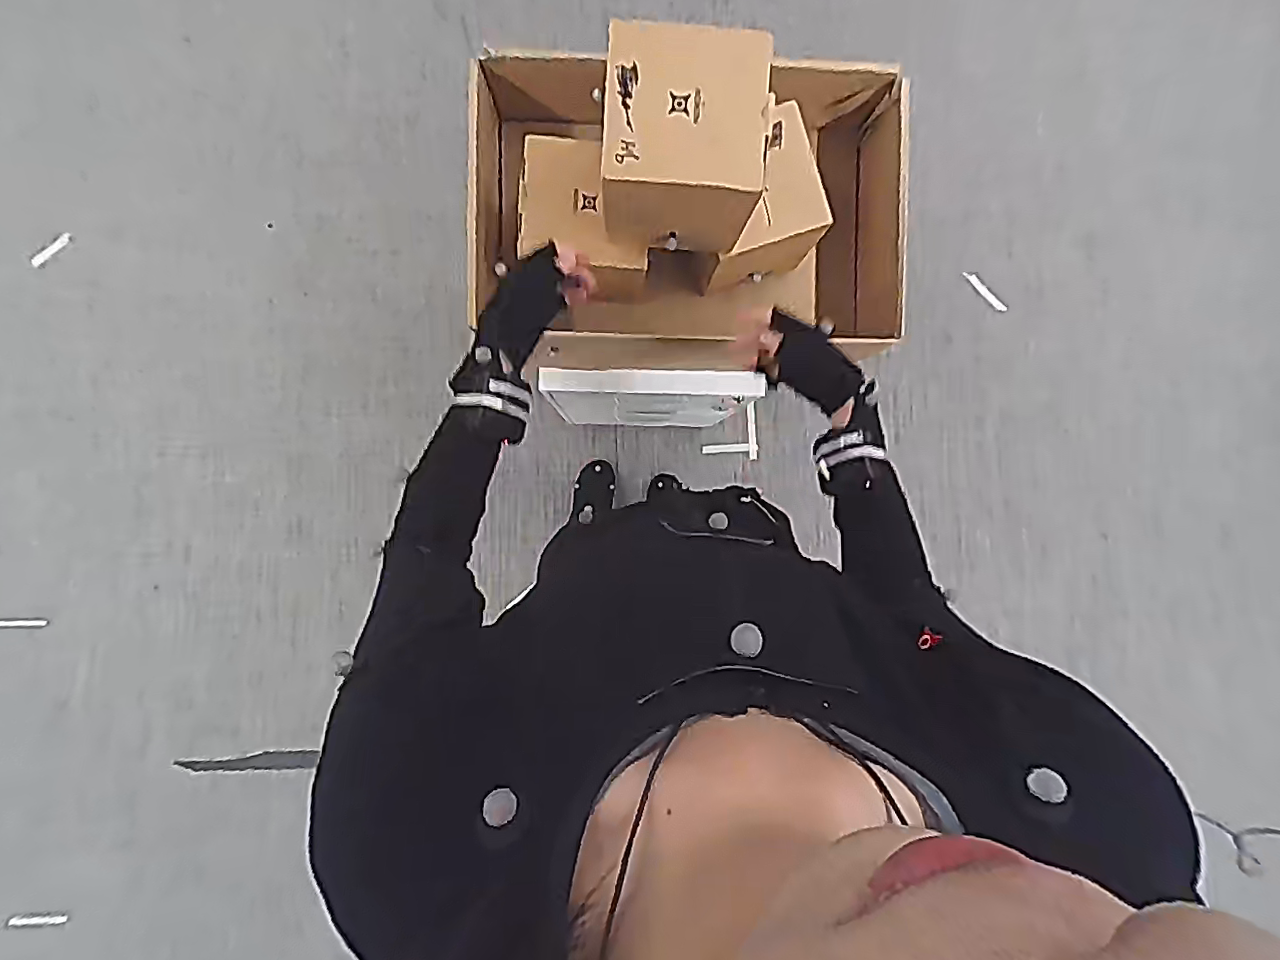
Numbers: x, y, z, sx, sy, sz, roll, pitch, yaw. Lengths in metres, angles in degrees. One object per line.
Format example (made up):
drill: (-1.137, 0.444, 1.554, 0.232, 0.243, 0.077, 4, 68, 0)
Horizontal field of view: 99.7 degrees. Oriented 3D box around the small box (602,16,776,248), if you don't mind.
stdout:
small box: (0.047, -0.393, 0.645, 0.179, 0.176, 0.168, 4, 91, -3)
